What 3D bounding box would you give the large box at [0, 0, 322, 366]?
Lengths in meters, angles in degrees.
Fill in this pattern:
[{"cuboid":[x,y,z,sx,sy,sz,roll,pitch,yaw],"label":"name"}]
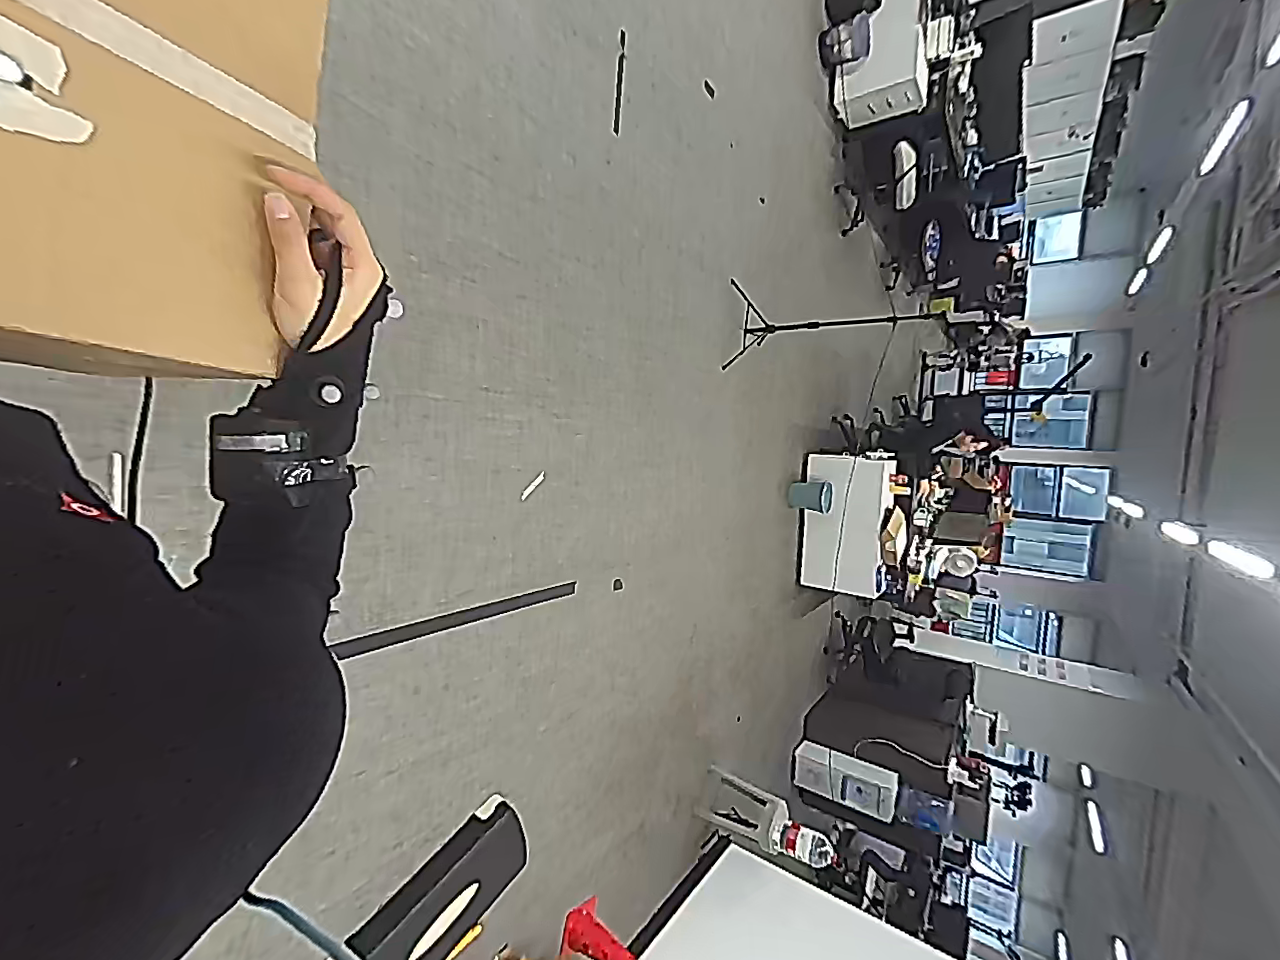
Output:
[{"cuboid":[-0.454,-0.249,0.269,0.408,0.320,0.320,5,93,-61],"label":"large box"}]
